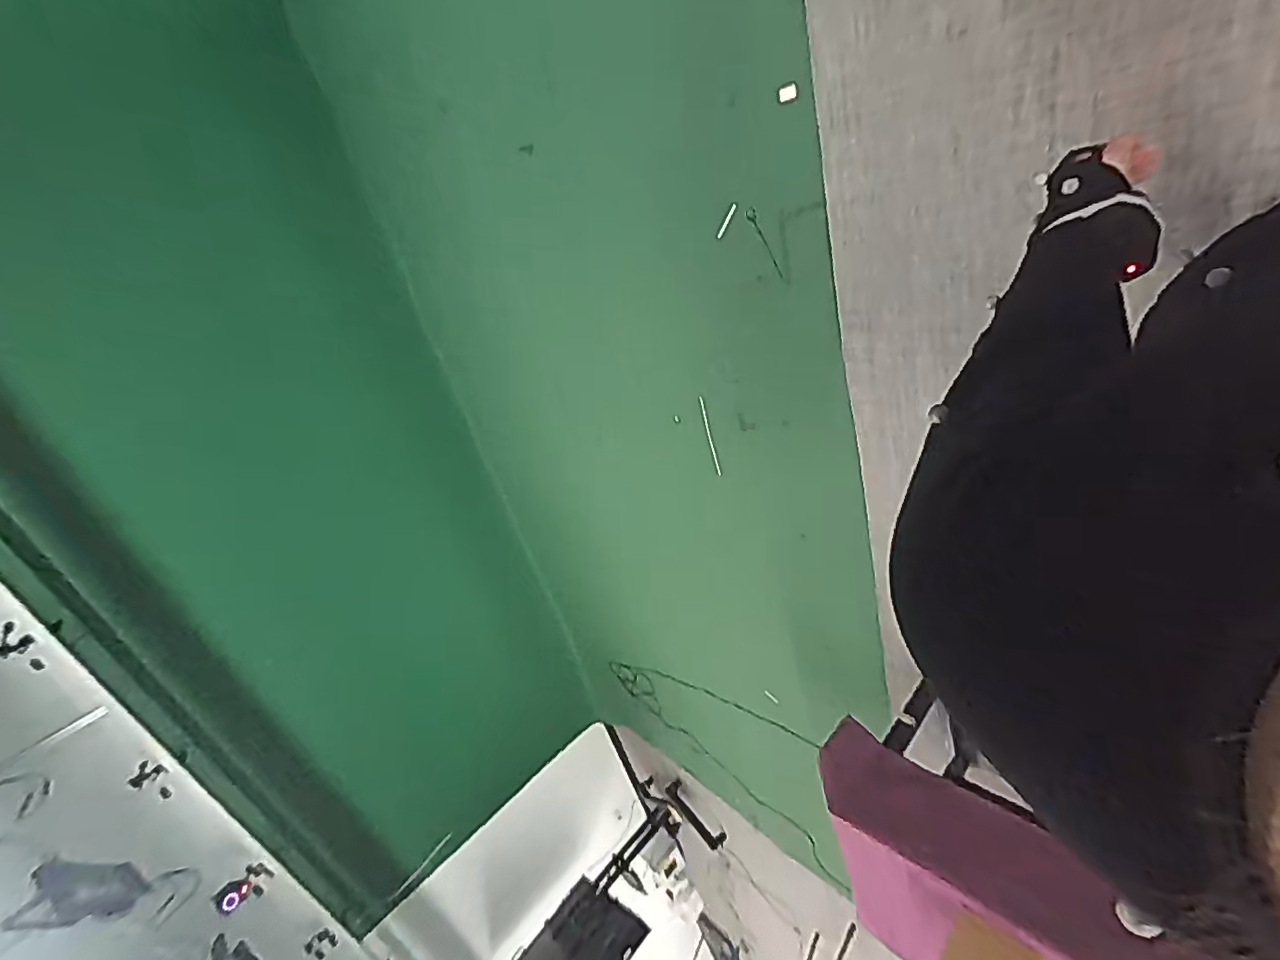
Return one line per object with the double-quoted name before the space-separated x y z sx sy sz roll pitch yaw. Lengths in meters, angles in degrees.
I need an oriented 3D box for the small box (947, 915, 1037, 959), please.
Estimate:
"small box" 0.810 1.158 1.231 0.179 0.176 0.168 11 126 49
